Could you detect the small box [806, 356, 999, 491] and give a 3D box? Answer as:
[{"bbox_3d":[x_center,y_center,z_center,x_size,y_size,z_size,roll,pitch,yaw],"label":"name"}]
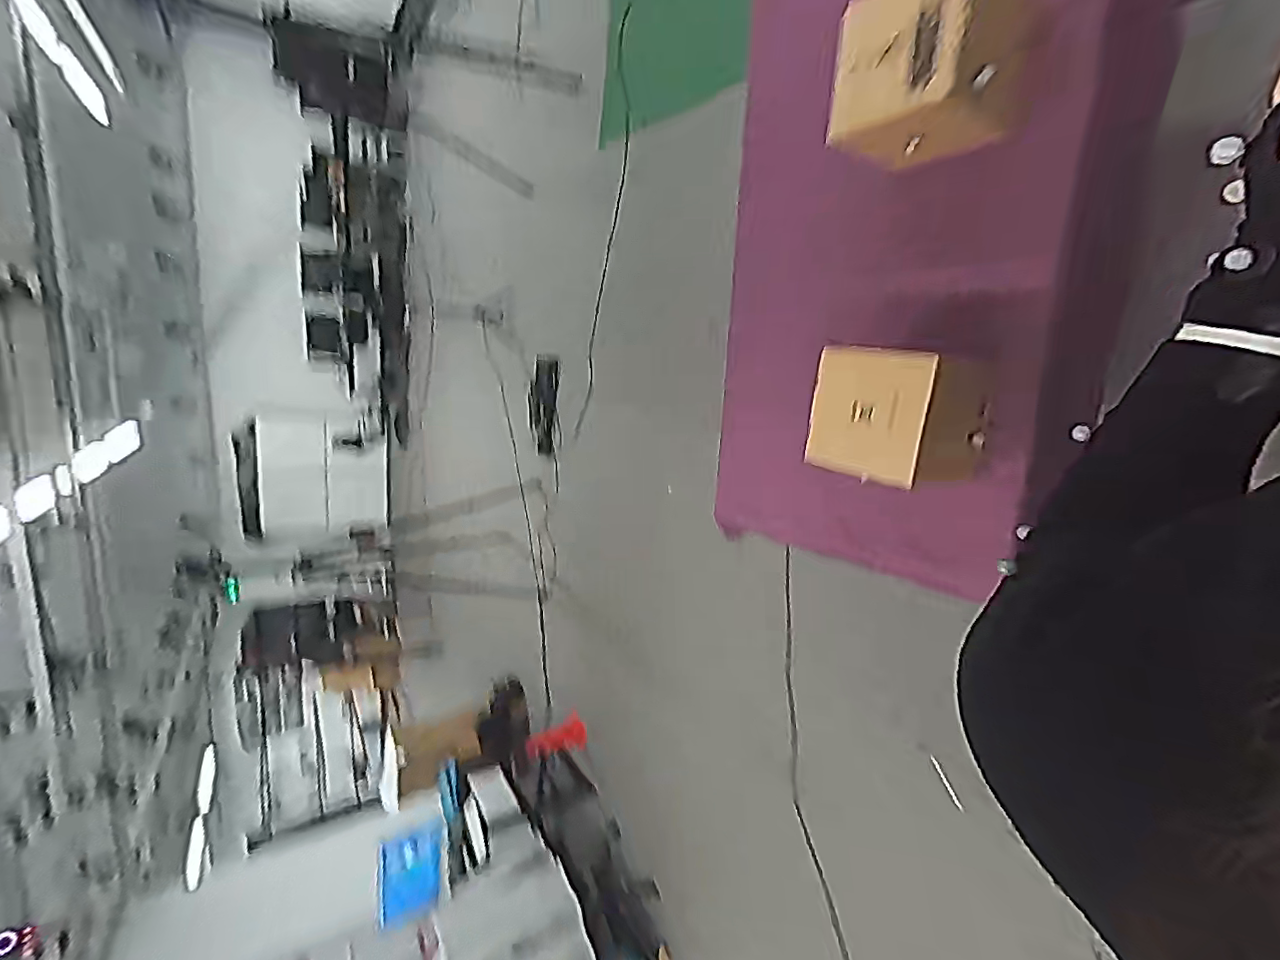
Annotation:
[{"bbox_3d":[0.377,-0.085,0.788,0.179,0.176,0.168,24,112,54],"label":"small box"}]
